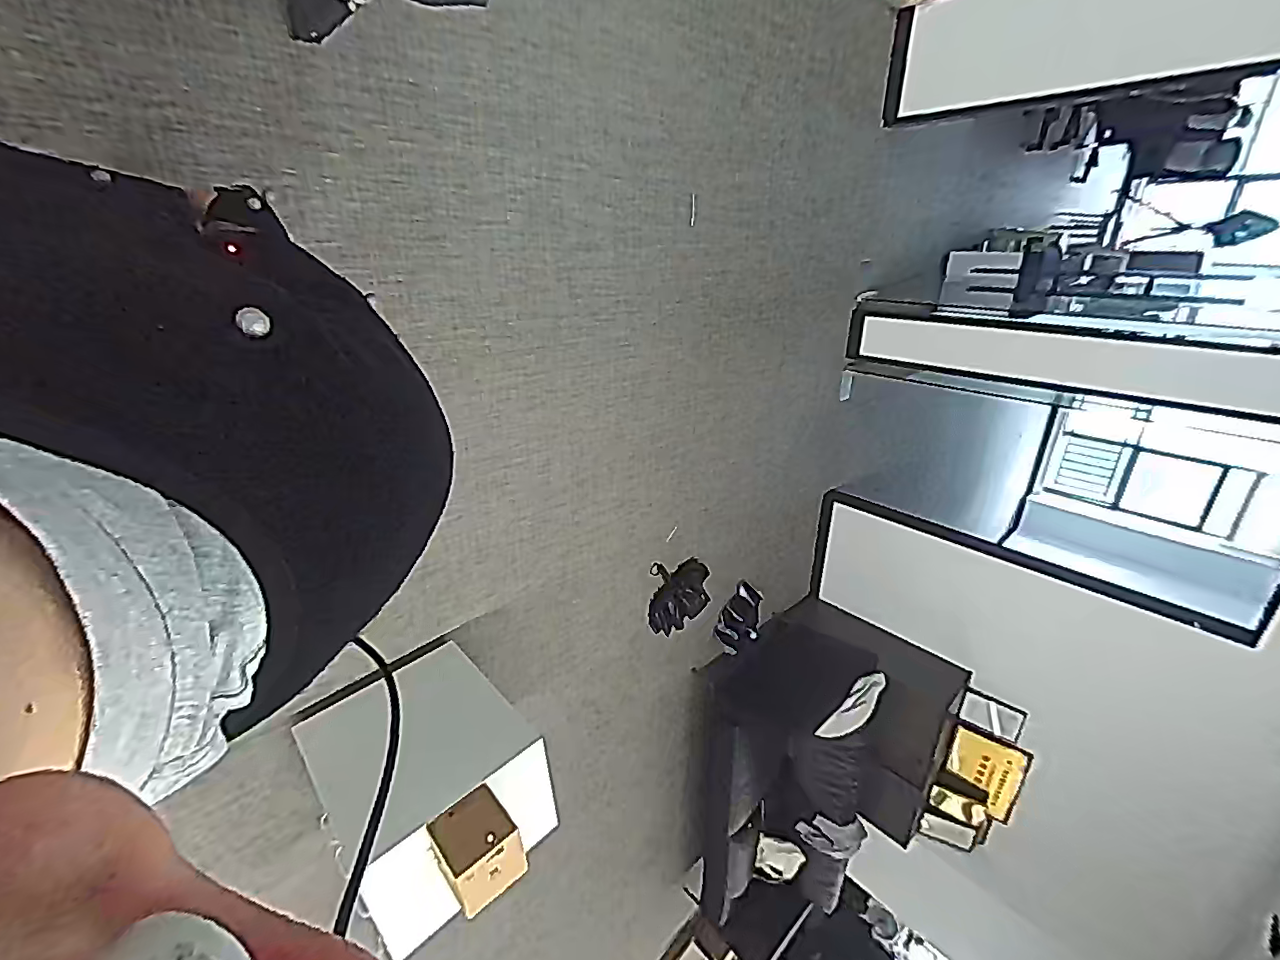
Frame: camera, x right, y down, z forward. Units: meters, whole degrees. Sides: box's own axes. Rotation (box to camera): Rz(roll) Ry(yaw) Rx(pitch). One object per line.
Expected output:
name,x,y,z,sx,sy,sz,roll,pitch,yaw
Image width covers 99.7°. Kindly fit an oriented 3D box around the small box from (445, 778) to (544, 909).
small box,-0.362,0.895,1.347,0.168,0.176,0.179,-26,126,-37
